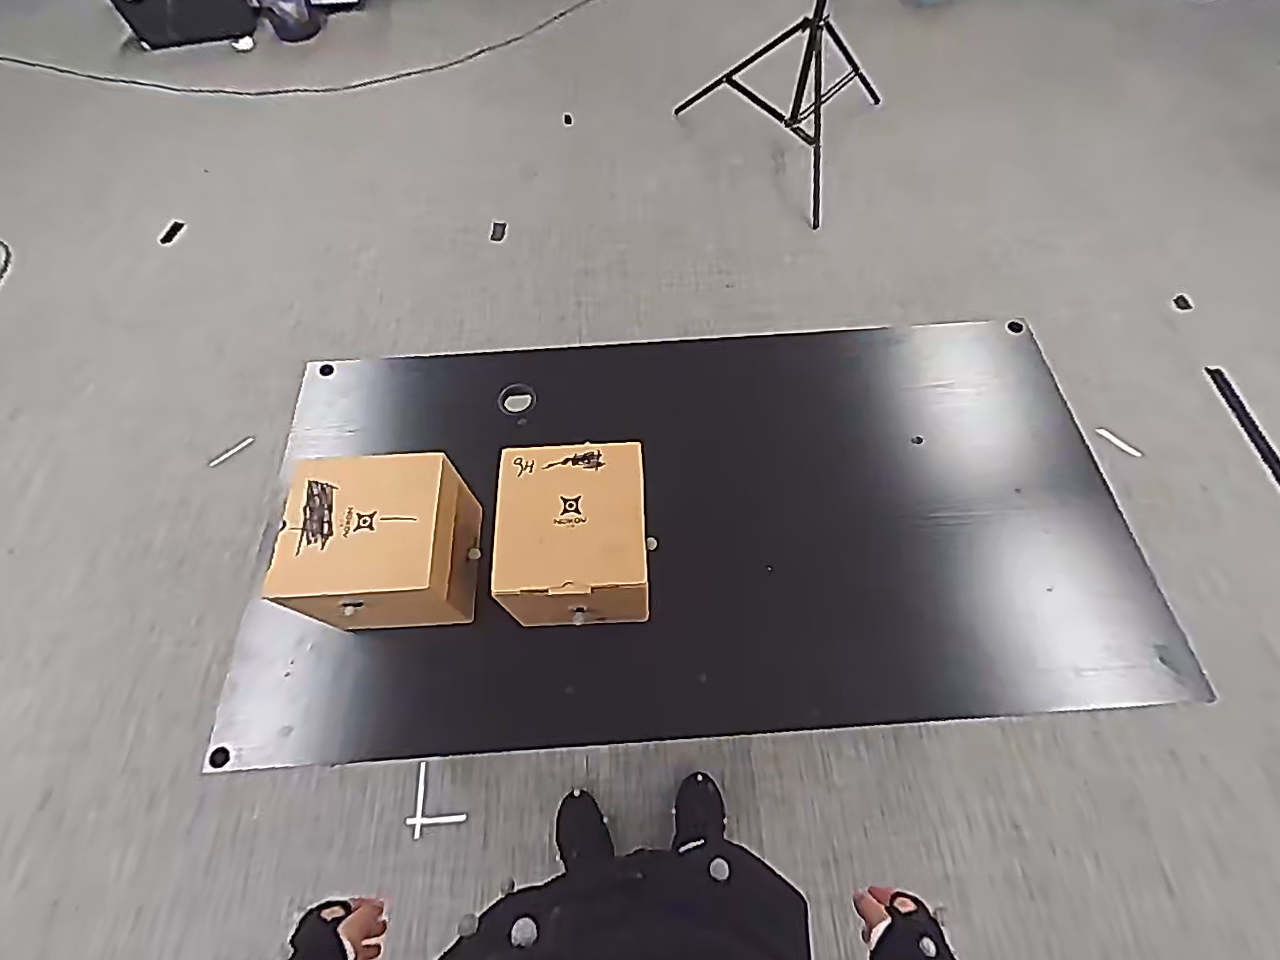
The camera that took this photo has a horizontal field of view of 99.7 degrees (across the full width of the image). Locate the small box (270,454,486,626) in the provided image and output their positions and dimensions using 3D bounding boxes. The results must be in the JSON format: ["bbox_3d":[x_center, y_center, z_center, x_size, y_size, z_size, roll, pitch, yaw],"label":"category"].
[{"bbox_3d":[-0.306,0.082,0.675,0.179,0.176,0.168,-3,64,-1],"label":"small box"}]

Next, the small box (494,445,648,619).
[{"bbox_3d":[-0.074,0.074,0.674,0.168,0.176,0.179,-2,65,-1],"label":"small box"}]
